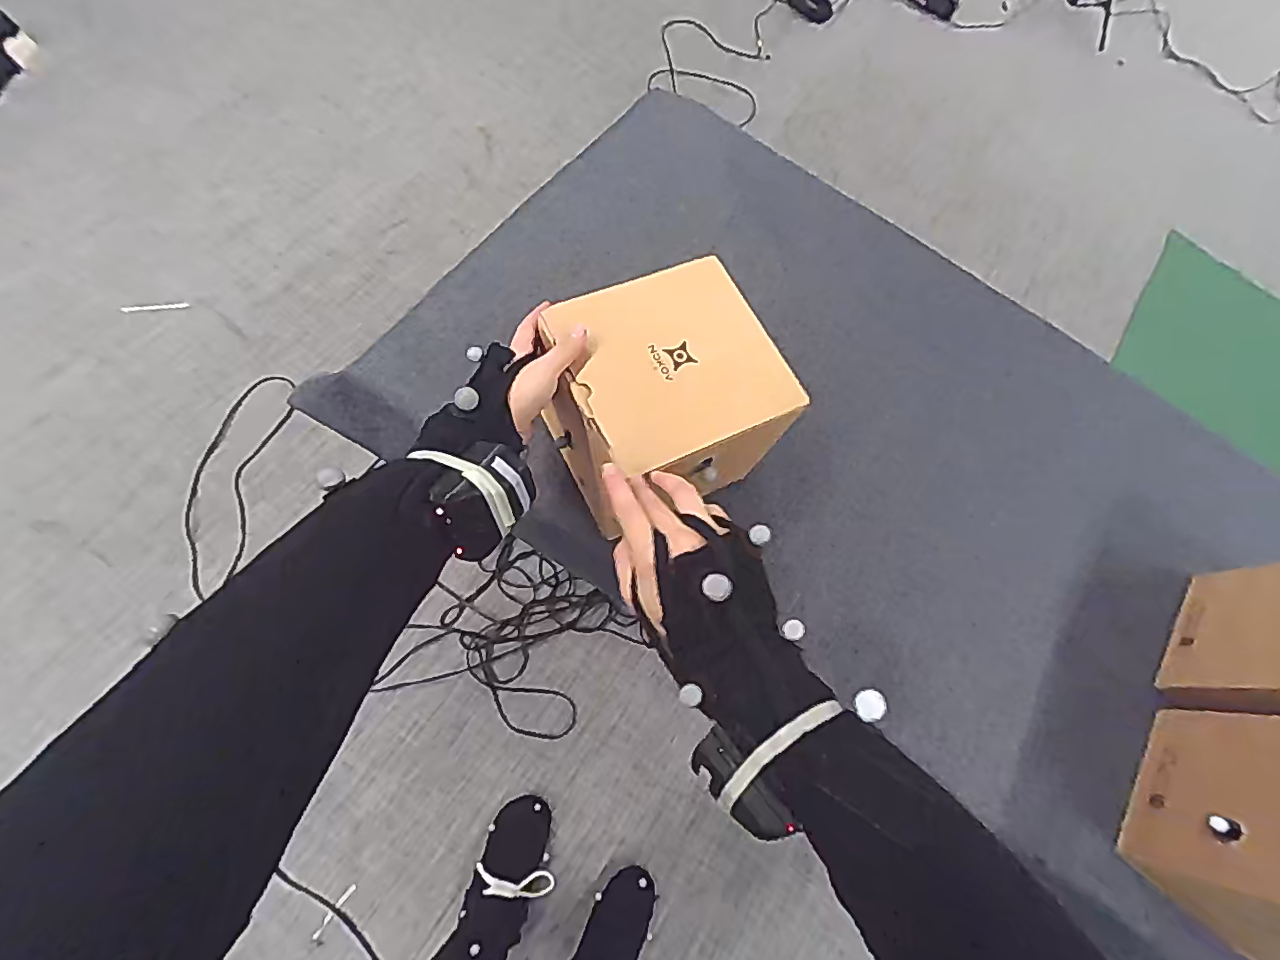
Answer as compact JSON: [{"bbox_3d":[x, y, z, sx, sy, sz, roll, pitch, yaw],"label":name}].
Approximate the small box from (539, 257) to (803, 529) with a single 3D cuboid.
[{"bbox_3d":[0.013,-0.073,0.514,0.179,0.176,0.168,-22,74,-16],"label":"small box"}]
